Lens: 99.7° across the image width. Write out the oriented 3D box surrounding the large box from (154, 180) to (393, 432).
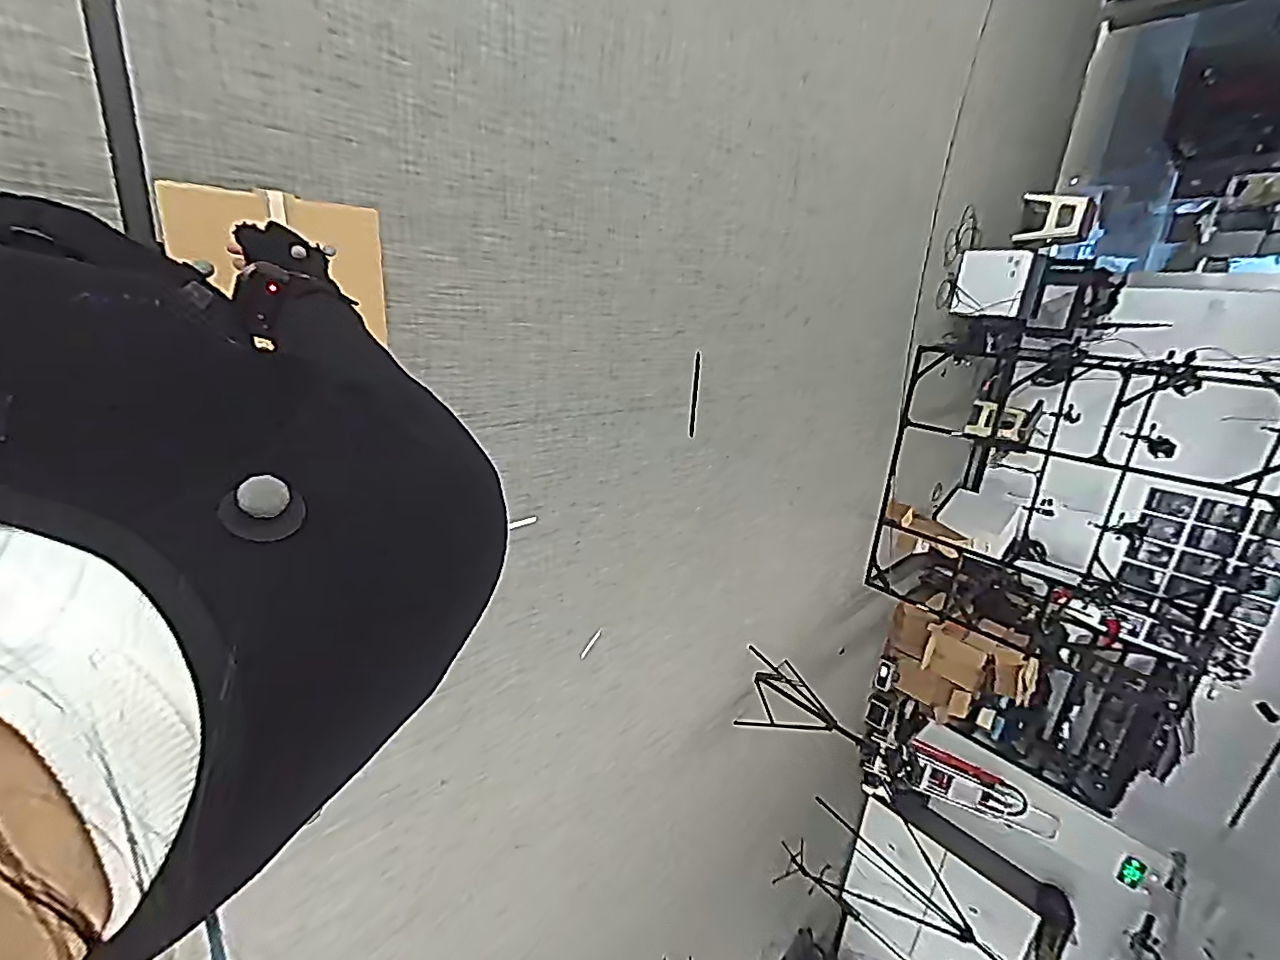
[{"bbox_3d":[-0.709,-0.340,1.075,0.320,0.320,0.408,-9,114,-35],"label":"large box"}]
